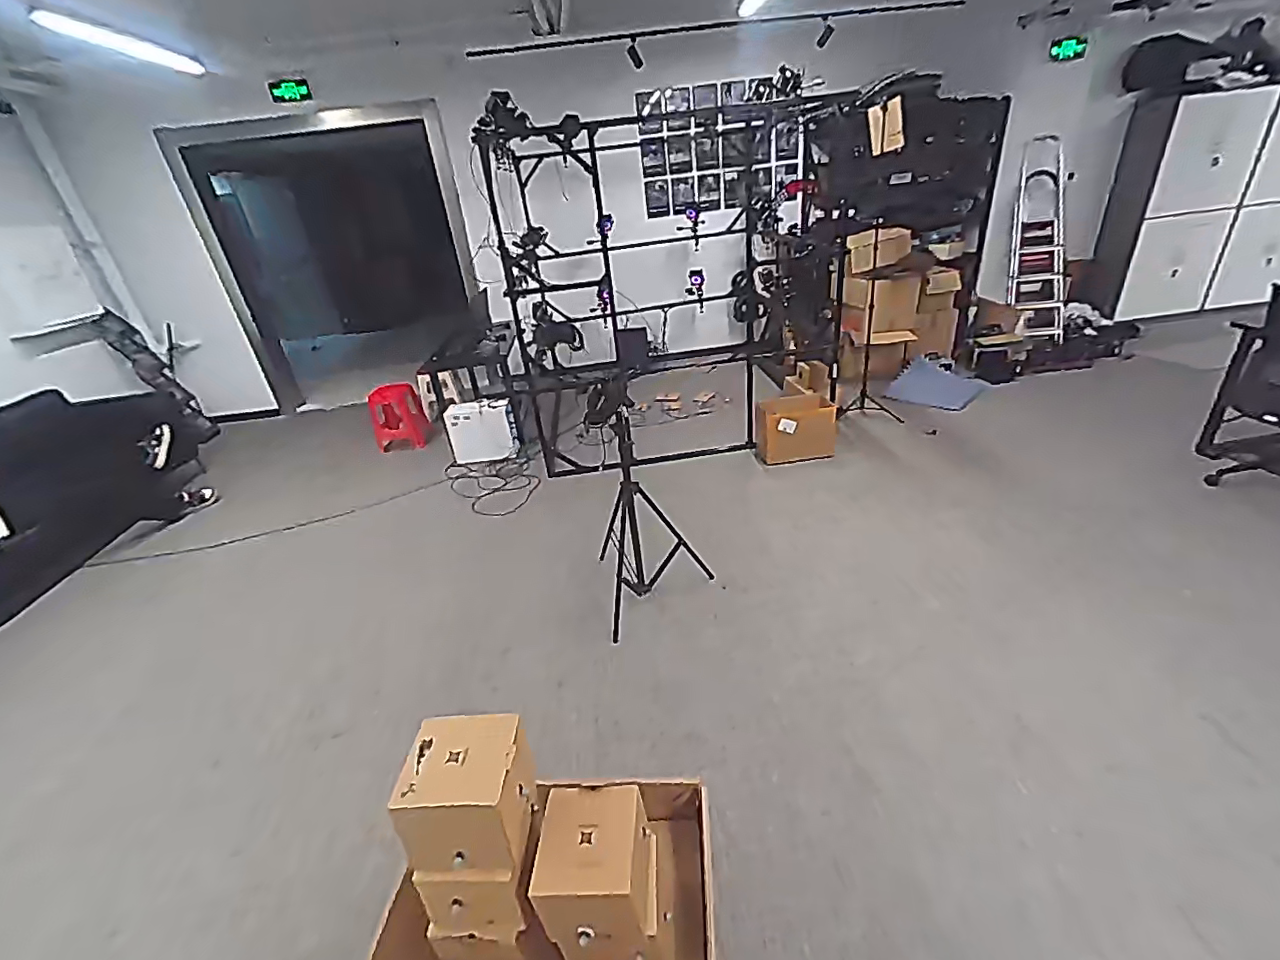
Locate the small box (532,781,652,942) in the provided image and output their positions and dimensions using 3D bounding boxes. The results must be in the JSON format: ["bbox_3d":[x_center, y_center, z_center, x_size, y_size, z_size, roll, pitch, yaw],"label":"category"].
[{"bbox_3d":[-0.073,0.662,0.948,0.168,0.176,0.179,-6,27,8],"label":"small box"}]

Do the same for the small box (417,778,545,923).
[{"bbox_3d":[-0.275,0.670,0.988,0.168,0.176,0.179,-2,27,4],"label":"small box"}]

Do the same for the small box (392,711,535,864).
[{"bbox_3d":[-0.285,0.521,0.921,0.179,0.176,0.168,-2,27,3],"label":"small box"}]
